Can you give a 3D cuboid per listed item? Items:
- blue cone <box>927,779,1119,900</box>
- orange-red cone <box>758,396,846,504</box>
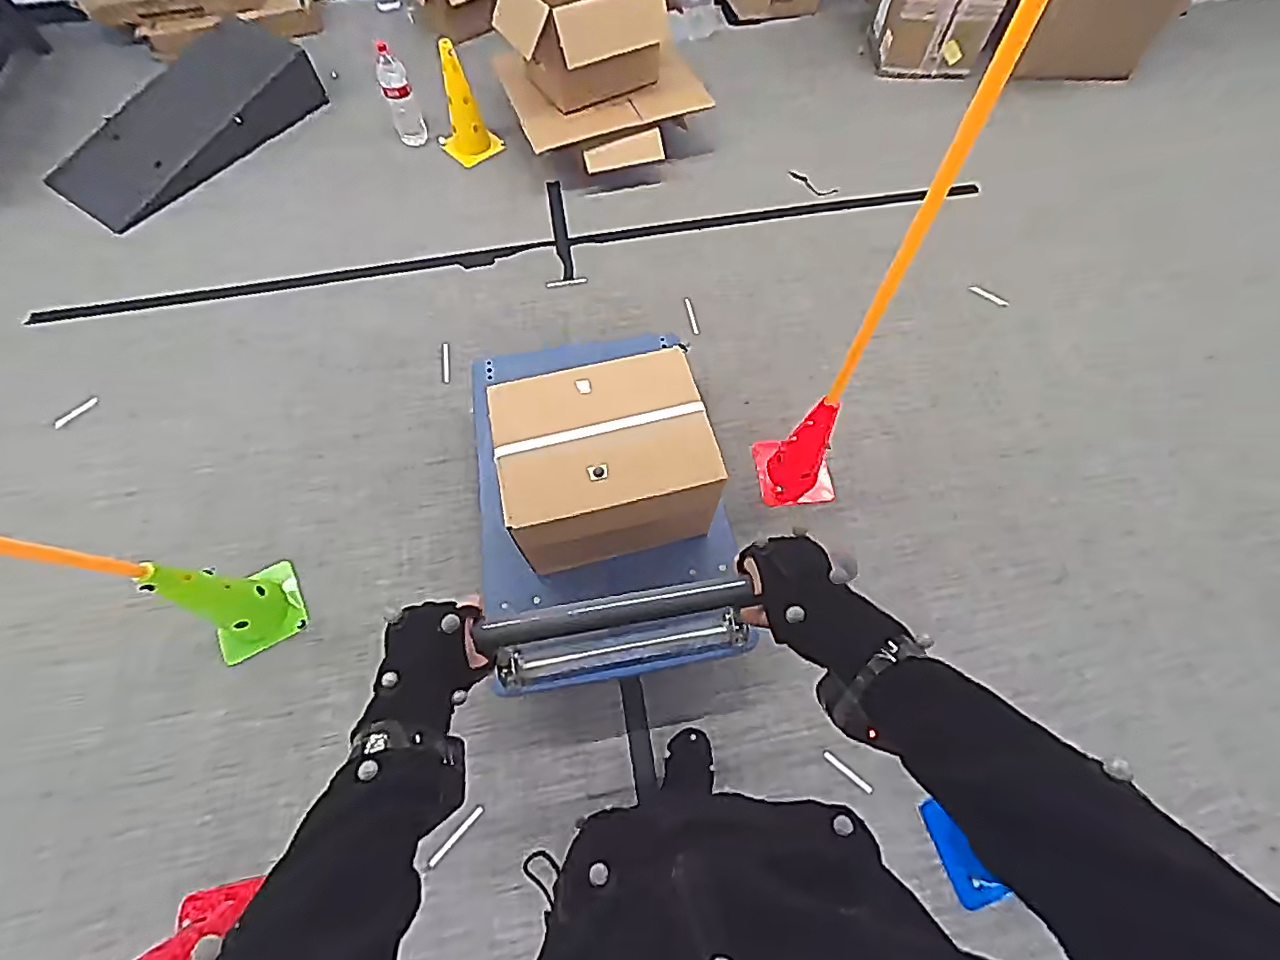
[{"bbox_3d":[0.729,0.687,0.999,0.193,0.380,0.192,-13,64,-7],"label":"blue cone"},{"bbox_3d":[0.441,-0.098,1.361,0.199,0.360,0.198,-3,65,-3],"label":"orange-red cone"}]
